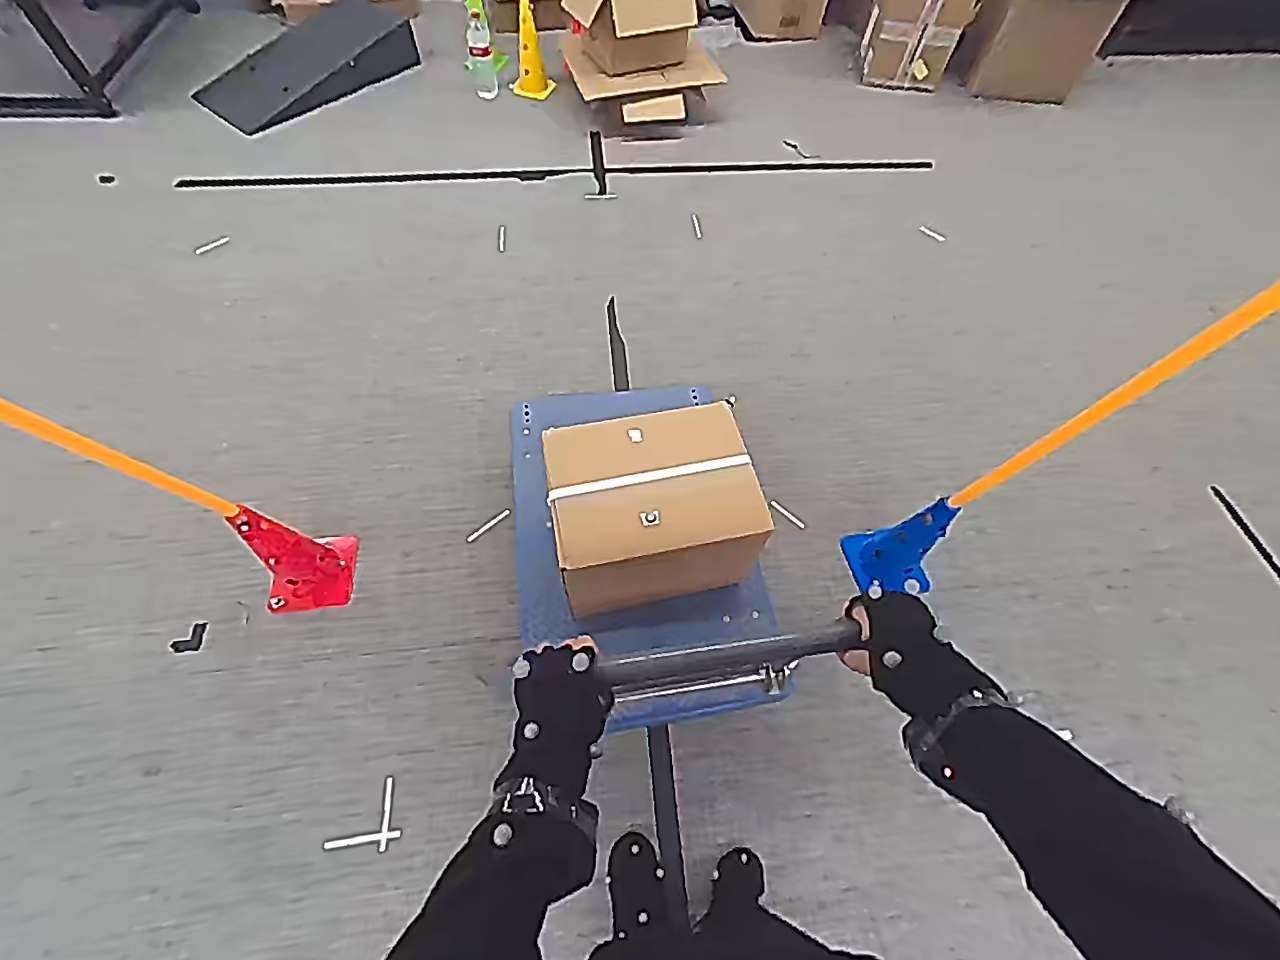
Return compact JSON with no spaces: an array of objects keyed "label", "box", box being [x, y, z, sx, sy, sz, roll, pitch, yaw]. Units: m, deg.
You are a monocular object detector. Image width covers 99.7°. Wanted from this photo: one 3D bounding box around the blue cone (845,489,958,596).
[{"label":"blue cone","box":[0.696,0.142,1.373,0.193,0.380,0.192,-7,59,-8]}]
